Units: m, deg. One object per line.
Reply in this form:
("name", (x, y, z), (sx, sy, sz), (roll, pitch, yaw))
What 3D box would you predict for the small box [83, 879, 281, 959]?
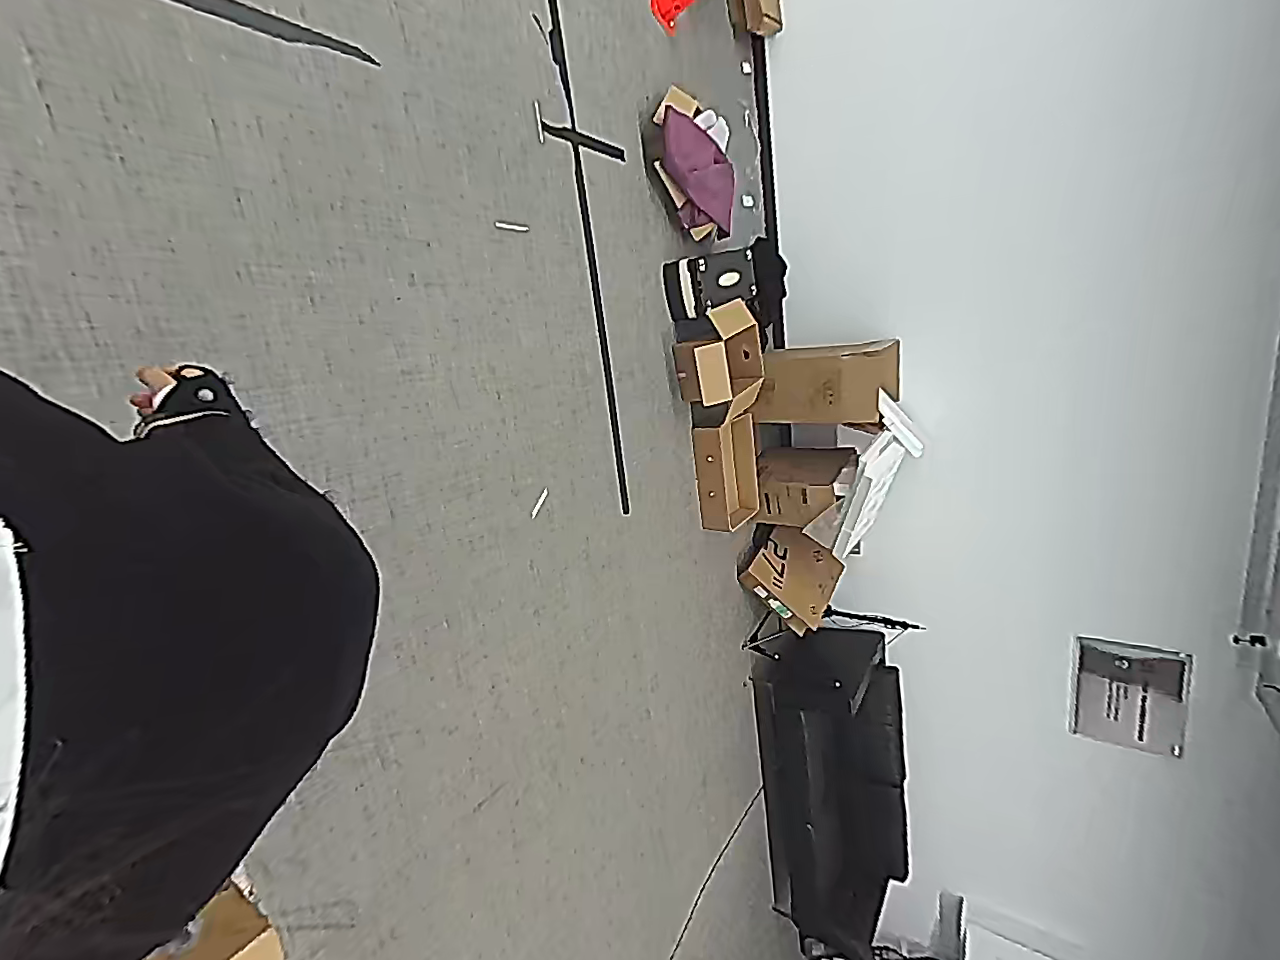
("small box", (-0.555, 0.644, 0.657), (0.168, 0.176, 0.179), (-22, 107, -54))
